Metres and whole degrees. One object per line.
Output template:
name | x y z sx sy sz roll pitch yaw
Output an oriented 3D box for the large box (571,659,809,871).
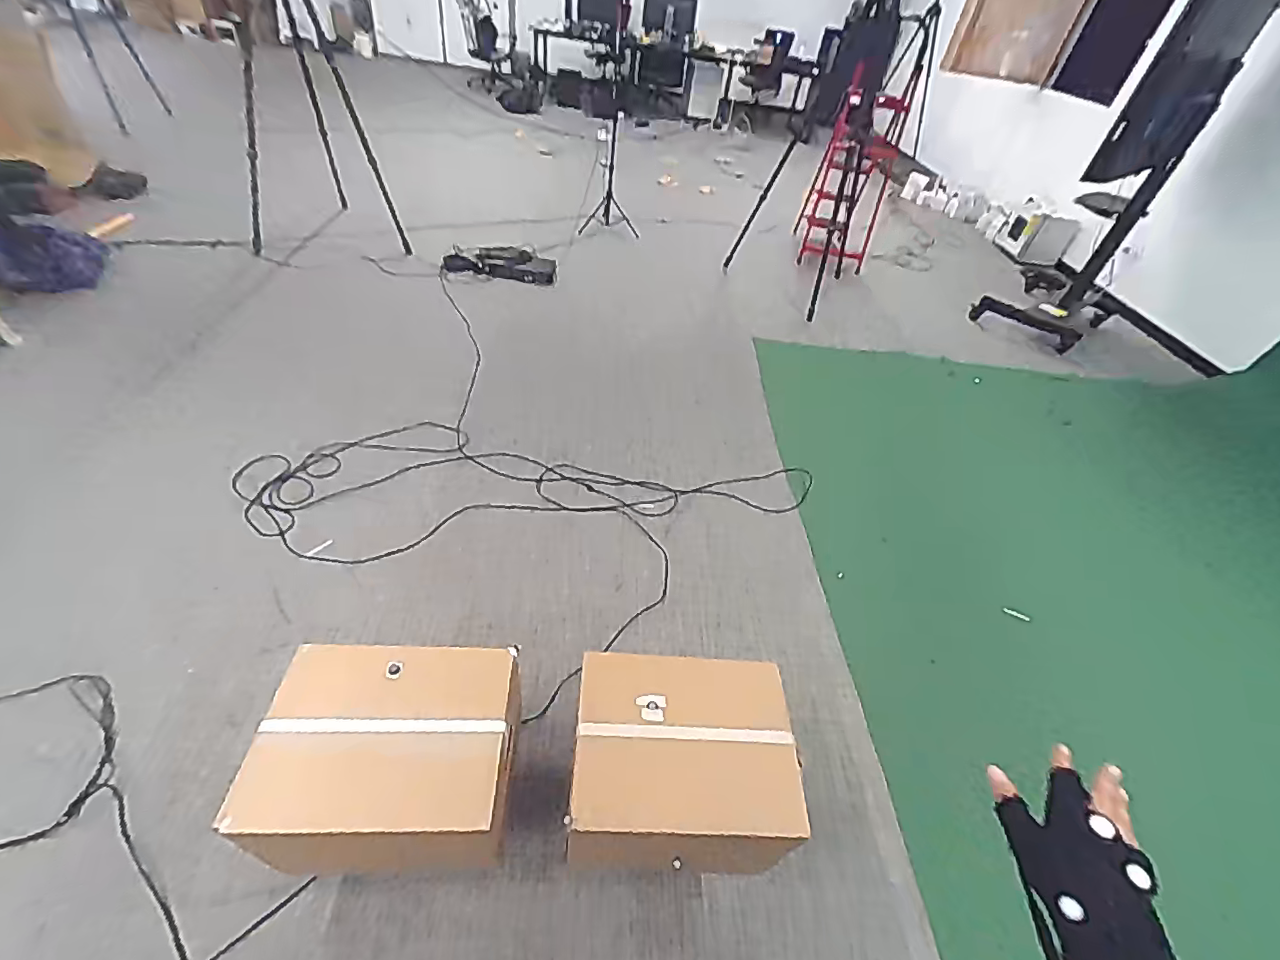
large box | 0.075 0.588 1.107 0.408 0.320 0.320 5 43 -4
